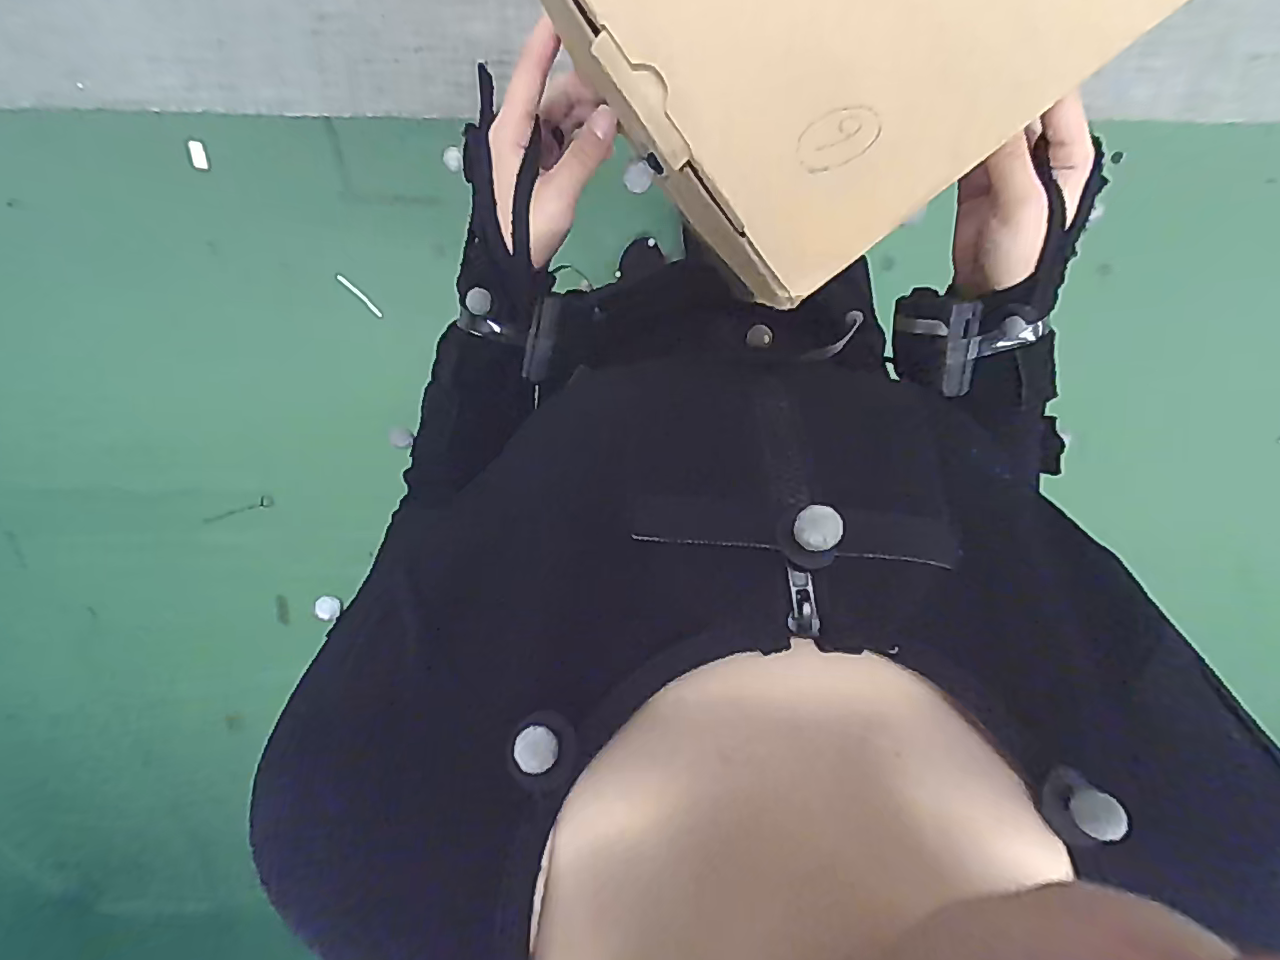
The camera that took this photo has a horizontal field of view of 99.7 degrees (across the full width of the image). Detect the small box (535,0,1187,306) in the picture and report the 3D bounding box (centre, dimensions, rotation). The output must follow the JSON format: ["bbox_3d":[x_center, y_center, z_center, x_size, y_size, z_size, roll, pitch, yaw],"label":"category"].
[{"bbox_3d":[0.072,-0.193,0.226,0.179,0.176,0.168,-36,102,16],"label":"small box"}]
